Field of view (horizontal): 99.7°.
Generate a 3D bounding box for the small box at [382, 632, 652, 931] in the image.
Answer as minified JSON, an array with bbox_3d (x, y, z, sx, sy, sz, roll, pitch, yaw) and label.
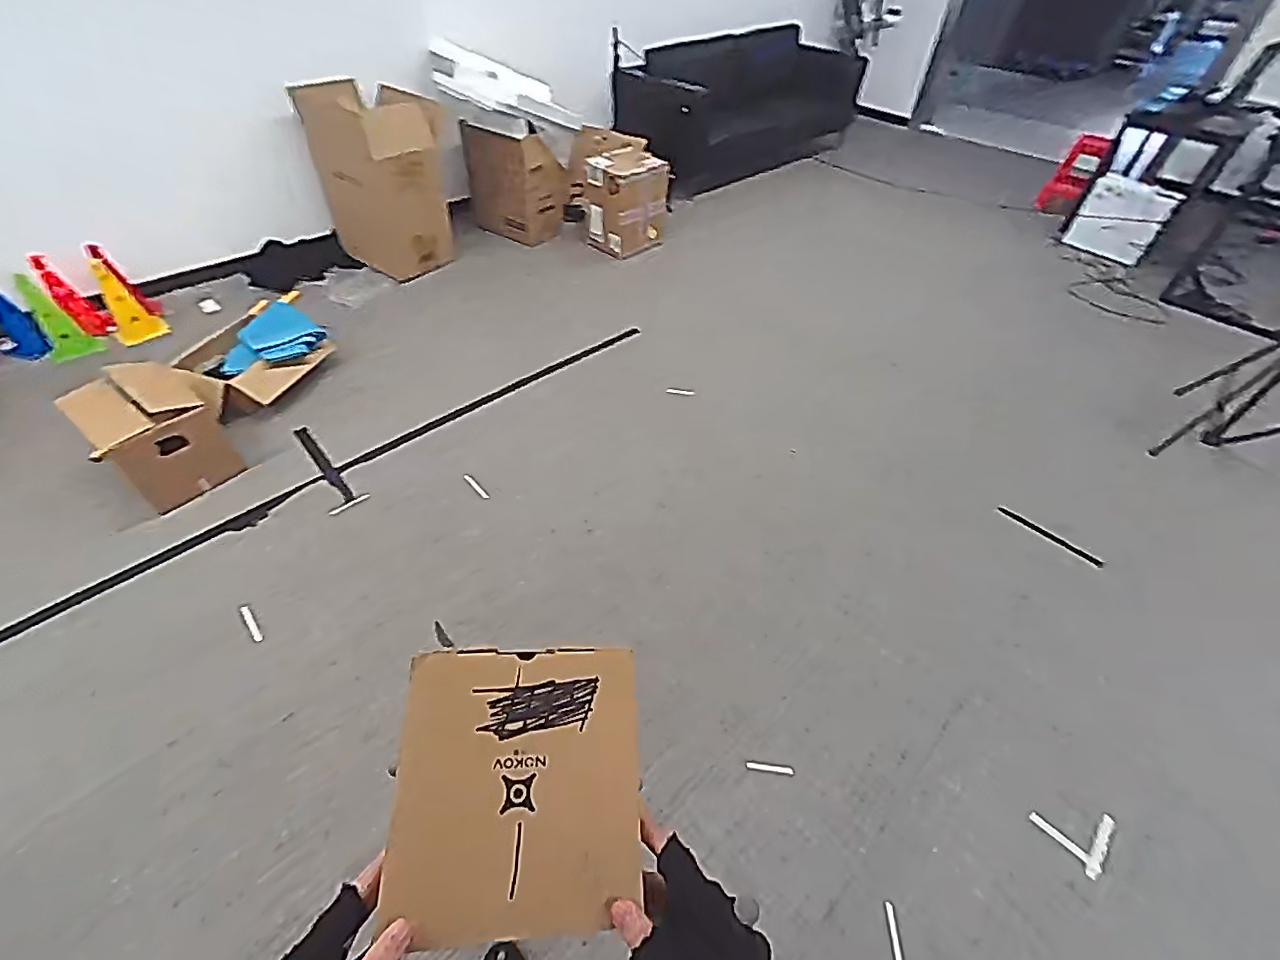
[{"bbox_3d":[-0.089,0.232,0.438,0.168,0.176,0.179,2,60,-10],"label":"small box"}]
